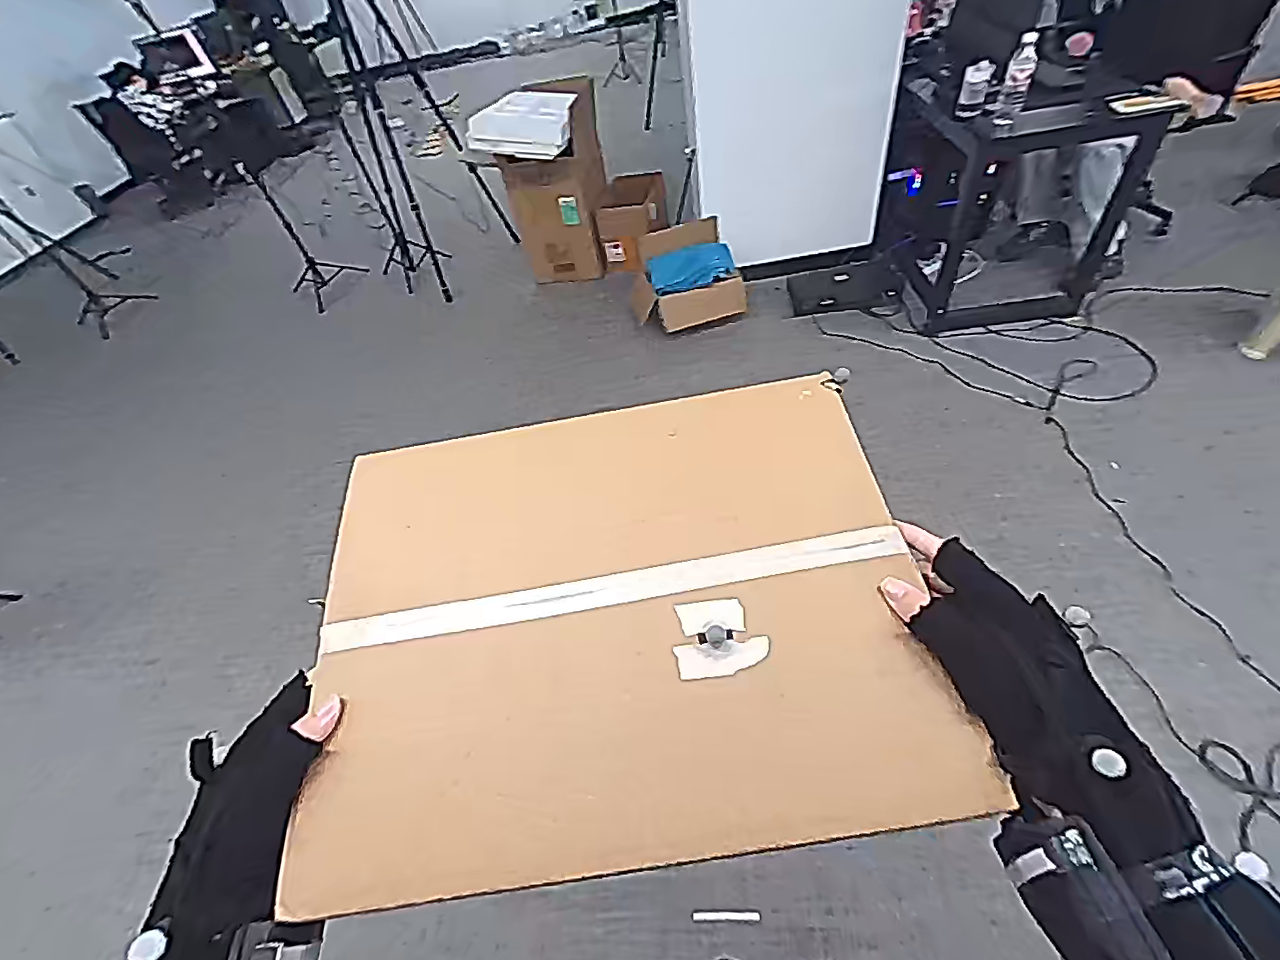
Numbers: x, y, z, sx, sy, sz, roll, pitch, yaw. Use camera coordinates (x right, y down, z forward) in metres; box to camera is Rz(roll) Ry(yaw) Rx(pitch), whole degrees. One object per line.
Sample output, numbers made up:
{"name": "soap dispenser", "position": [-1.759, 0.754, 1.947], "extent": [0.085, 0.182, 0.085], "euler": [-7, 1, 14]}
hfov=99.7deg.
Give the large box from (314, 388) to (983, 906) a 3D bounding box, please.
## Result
{"name": "large box", "position": [-0.003, 0.161, 0.515], "extent": [0.408, 0.320, 0.320], "euler": [-10, 58, 1]}
